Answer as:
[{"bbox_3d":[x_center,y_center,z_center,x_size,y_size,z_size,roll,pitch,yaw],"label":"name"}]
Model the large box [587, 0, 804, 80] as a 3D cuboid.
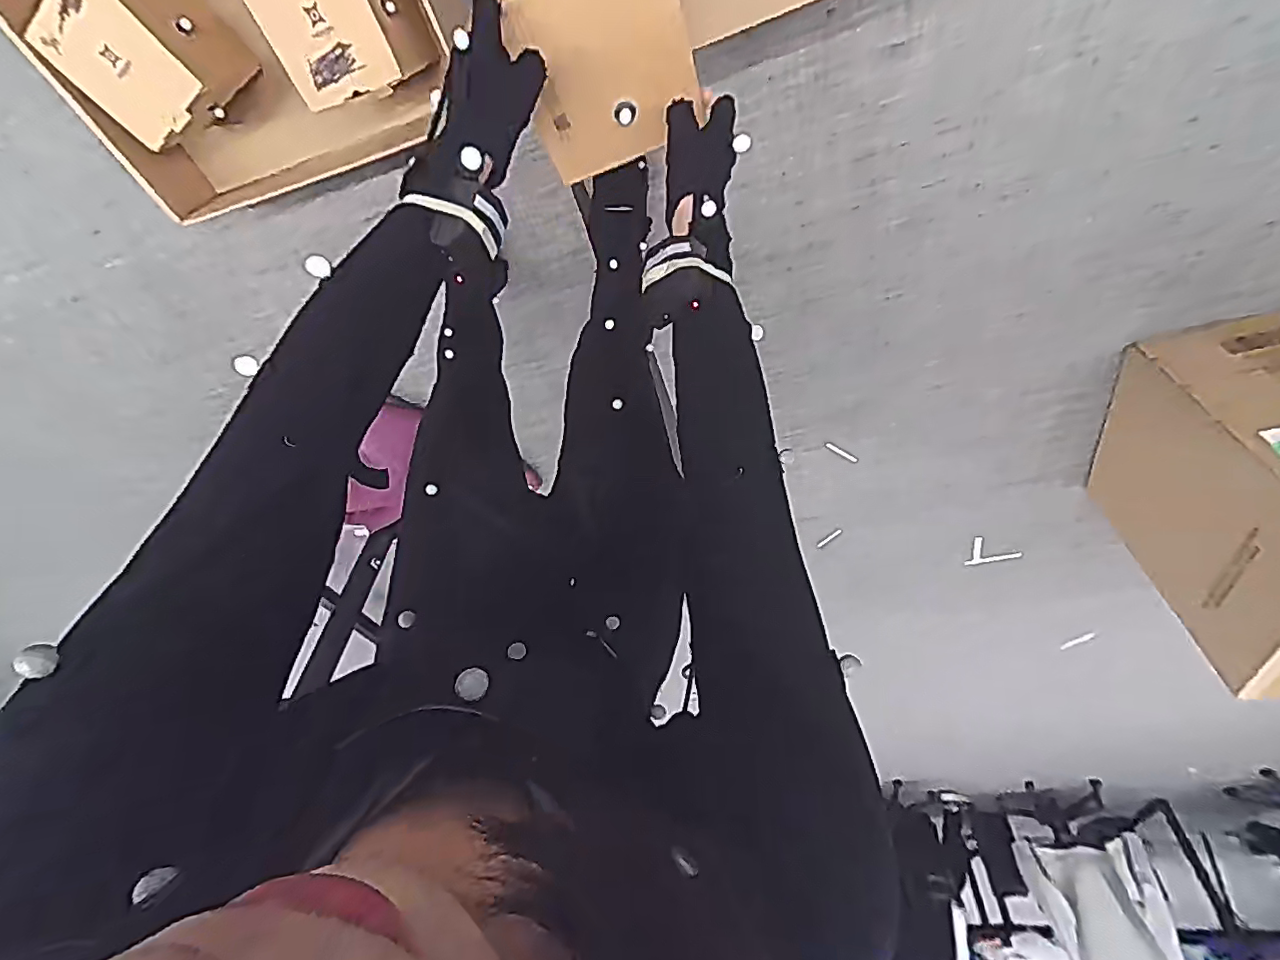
[{"bbox_3d":[0.103,-0.765,0.656,0.408,0.320,0.320,-13,134,14],"label":"large box"}]
